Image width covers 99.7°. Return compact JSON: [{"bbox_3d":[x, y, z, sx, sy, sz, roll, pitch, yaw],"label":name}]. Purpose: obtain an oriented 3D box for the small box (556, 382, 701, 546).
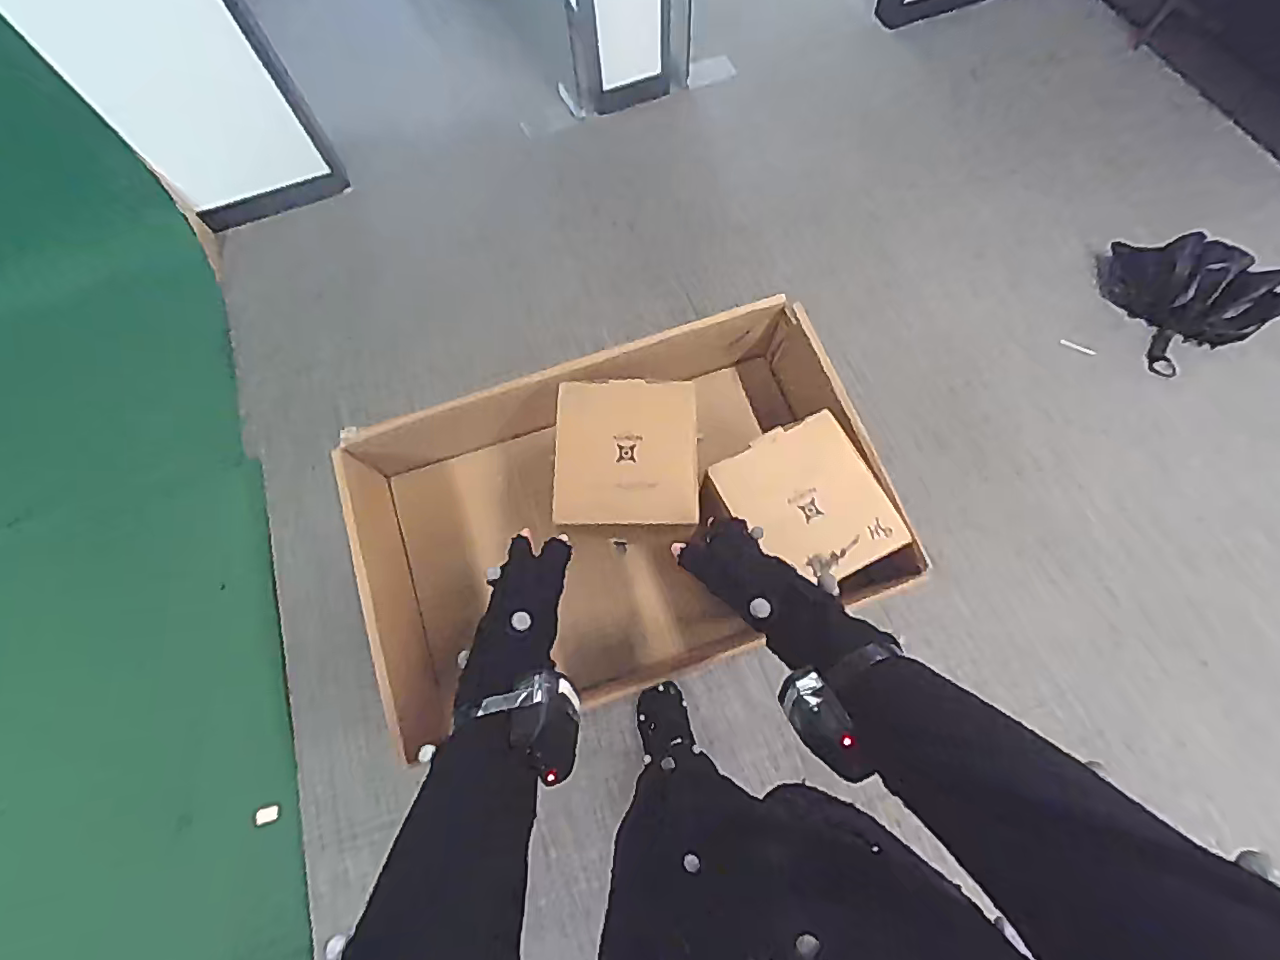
[{"bbox_3d":[-0.011,-0.013,0.704,0.168,0.176,0.179,0,75,2],"label":"small box"}]
